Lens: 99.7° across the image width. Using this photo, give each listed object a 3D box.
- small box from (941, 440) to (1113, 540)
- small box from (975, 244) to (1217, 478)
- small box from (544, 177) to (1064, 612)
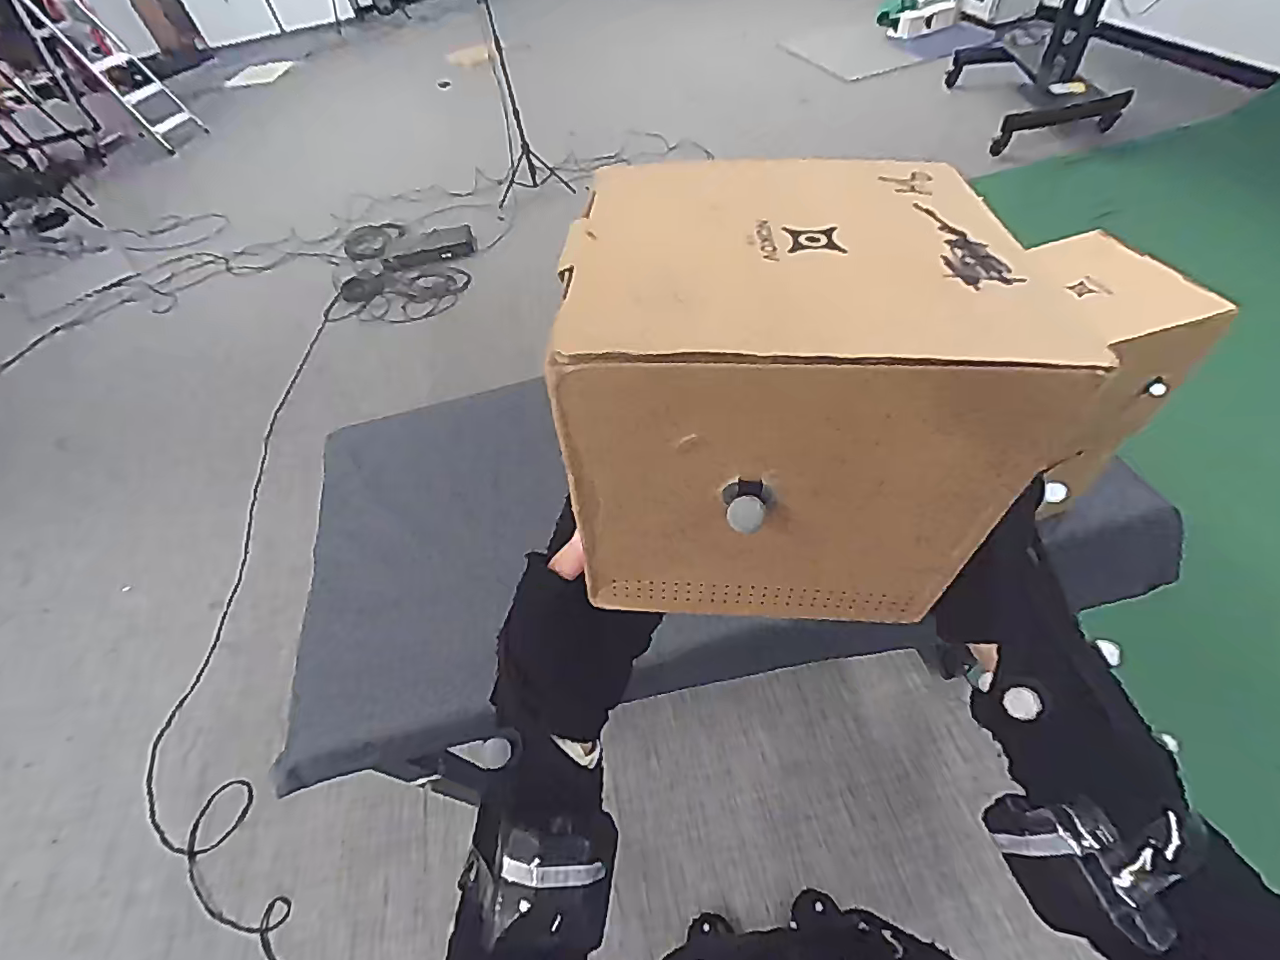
[{"bbox_3d":[0.471,-0.038,0.743,0.168,0.176,0.179,-18,50,-5],"label":"small box"},{"bbox_3d":[0.451,-0.131,0.612,0.179,0.176,0.168,-18,49,-3],"label":"small box"},{"bbox_3d":[0.061,-0.041,0.292,0.179,0.176,0.168,1,49,4],"label":"small box"}]
